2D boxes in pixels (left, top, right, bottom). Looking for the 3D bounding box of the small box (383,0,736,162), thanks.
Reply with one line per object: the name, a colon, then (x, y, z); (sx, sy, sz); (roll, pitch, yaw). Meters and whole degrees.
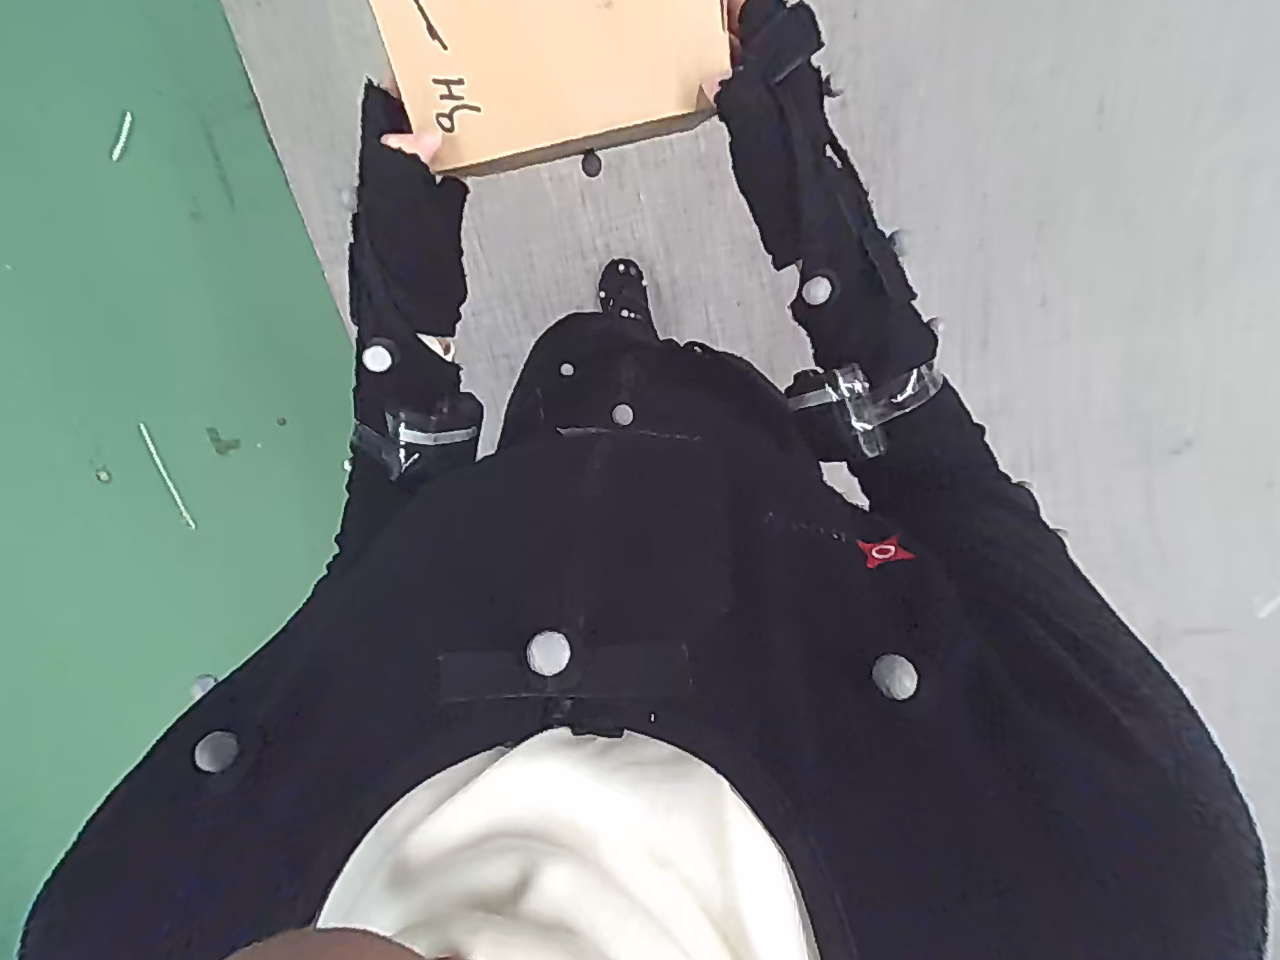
small box: (-0.051, -0.306, 0.331); (0.179, 0.176, 0.168); (-11, 118, 3)
